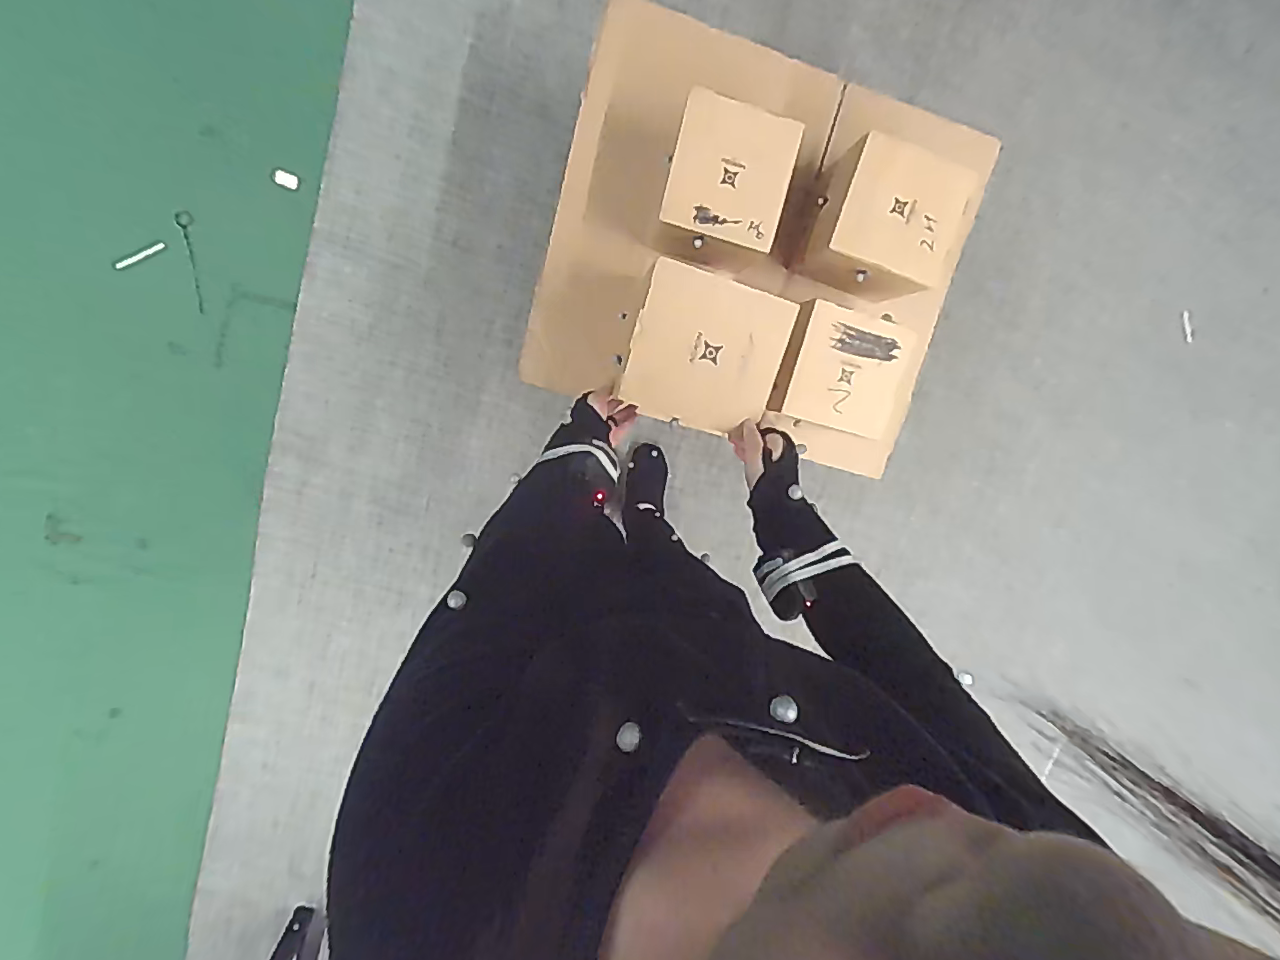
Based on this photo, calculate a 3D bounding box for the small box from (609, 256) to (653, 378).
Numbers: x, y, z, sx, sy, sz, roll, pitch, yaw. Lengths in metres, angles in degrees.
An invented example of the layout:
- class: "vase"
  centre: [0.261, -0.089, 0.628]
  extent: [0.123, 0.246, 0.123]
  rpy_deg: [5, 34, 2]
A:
- class: "small box"
  centre: [0.052, -0.221, 0.846]
  extent: [0.168, 0.176, 0.179]
  rpy_deg: [16, 99, -8]

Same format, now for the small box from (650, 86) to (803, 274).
- class: "small box"
  centre: [0.116, -0.431, 0.809]
  extent: [0.168, 0.176, 0.179]
  rpy_deg: [13, 99, -6]

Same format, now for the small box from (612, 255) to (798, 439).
- class: "small box"
  centre: [0.067, -0.163, 0.692]
  extent: [0.179, 0.176, 0.168]
  rpy_deg: [16, 100, -9]
